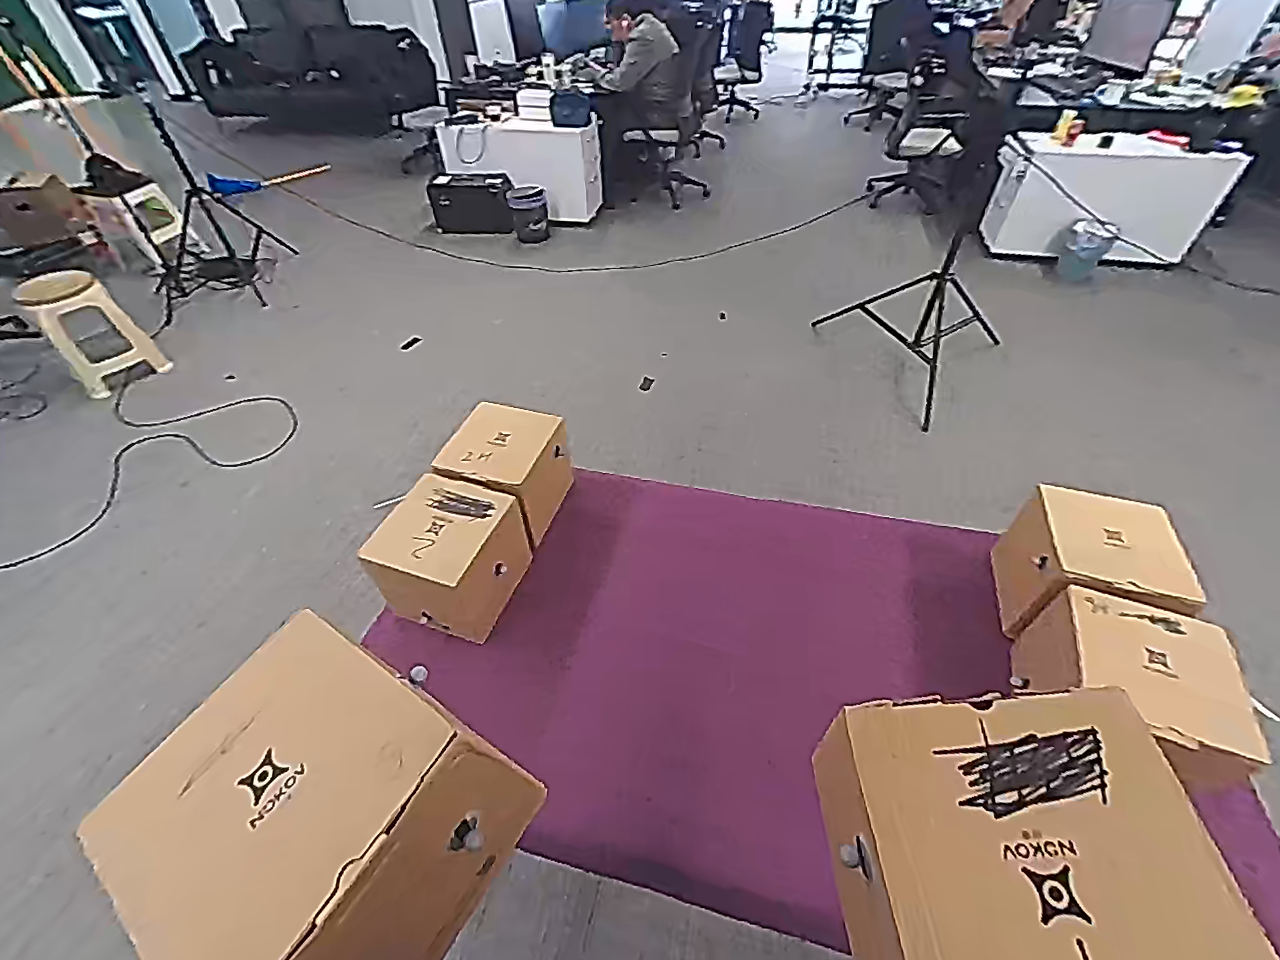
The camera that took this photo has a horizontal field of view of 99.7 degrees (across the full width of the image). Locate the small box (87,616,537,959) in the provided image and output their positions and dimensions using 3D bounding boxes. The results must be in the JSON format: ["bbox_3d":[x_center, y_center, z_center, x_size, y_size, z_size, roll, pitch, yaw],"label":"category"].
[{"bbox_3d":[-0.202,0.233,0.380,0.179,0.176,0.168,19,56,28],"label":"small box"}]

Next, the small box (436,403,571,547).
[{"bbox_3d":[-0.233,-0.009,0.978,0.168,0.176,0.179,12,48,13],"label":"small box"}]

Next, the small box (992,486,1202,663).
[{"bbox_3d":[0.658,0.141,0.811,0.168,0.176,0.179,13,47,13],"label":"small box"}]

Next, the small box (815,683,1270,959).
[{"bbox_3d":[0.220,0.247,0.346,0.168,0.176,0.179,-7,54,5],"label":"small box"}]
